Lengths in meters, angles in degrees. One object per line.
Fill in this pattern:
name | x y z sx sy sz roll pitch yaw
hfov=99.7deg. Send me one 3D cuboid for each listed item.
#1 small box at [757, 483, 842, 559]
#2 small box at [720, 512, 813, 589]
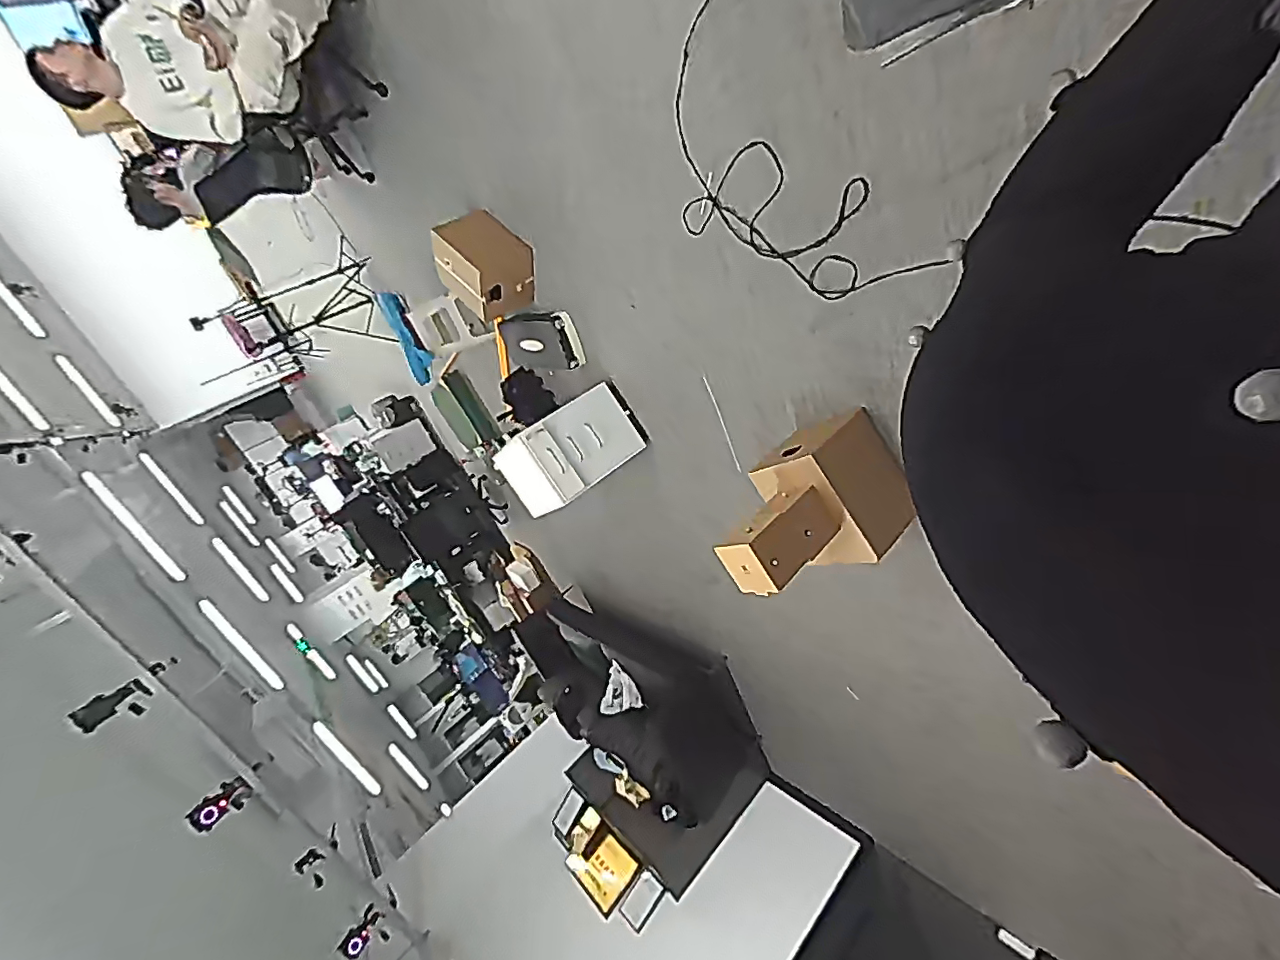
small box | 0.505 0.134 1.715 0.179 0.176 0.168 57 151 -7
small box | 0.384 0.210 1.636 0.179 0.176 0.168 56 151 -7
